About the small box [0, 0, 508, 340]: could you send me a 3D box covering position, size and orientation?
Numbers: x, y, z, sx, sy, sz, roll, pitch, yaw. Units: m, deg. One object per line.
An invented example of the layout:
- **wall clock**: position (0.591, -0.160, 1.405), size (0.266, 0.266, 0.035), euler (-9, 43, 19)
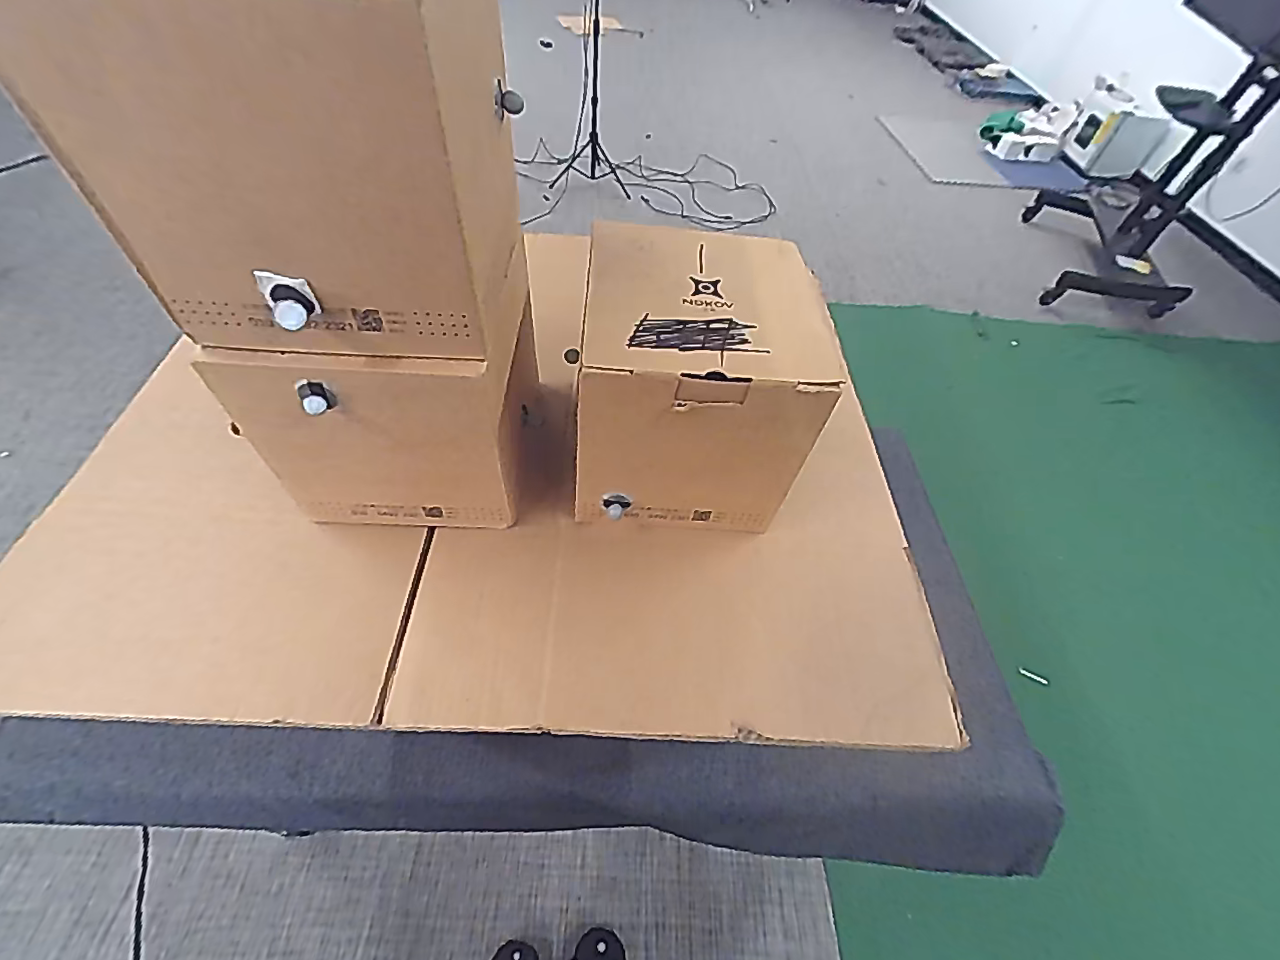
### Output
- **small box**: position (-0.168, -0.199, 0.288), size (0.168, 0.176, 0.179), euler (0, 55, -5)

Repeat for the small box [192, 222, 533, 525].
- **small box**: position (-0.180, -0.086, 0.425), size (0.168, 0.176, 0.179), euler (2, 52, -2)
